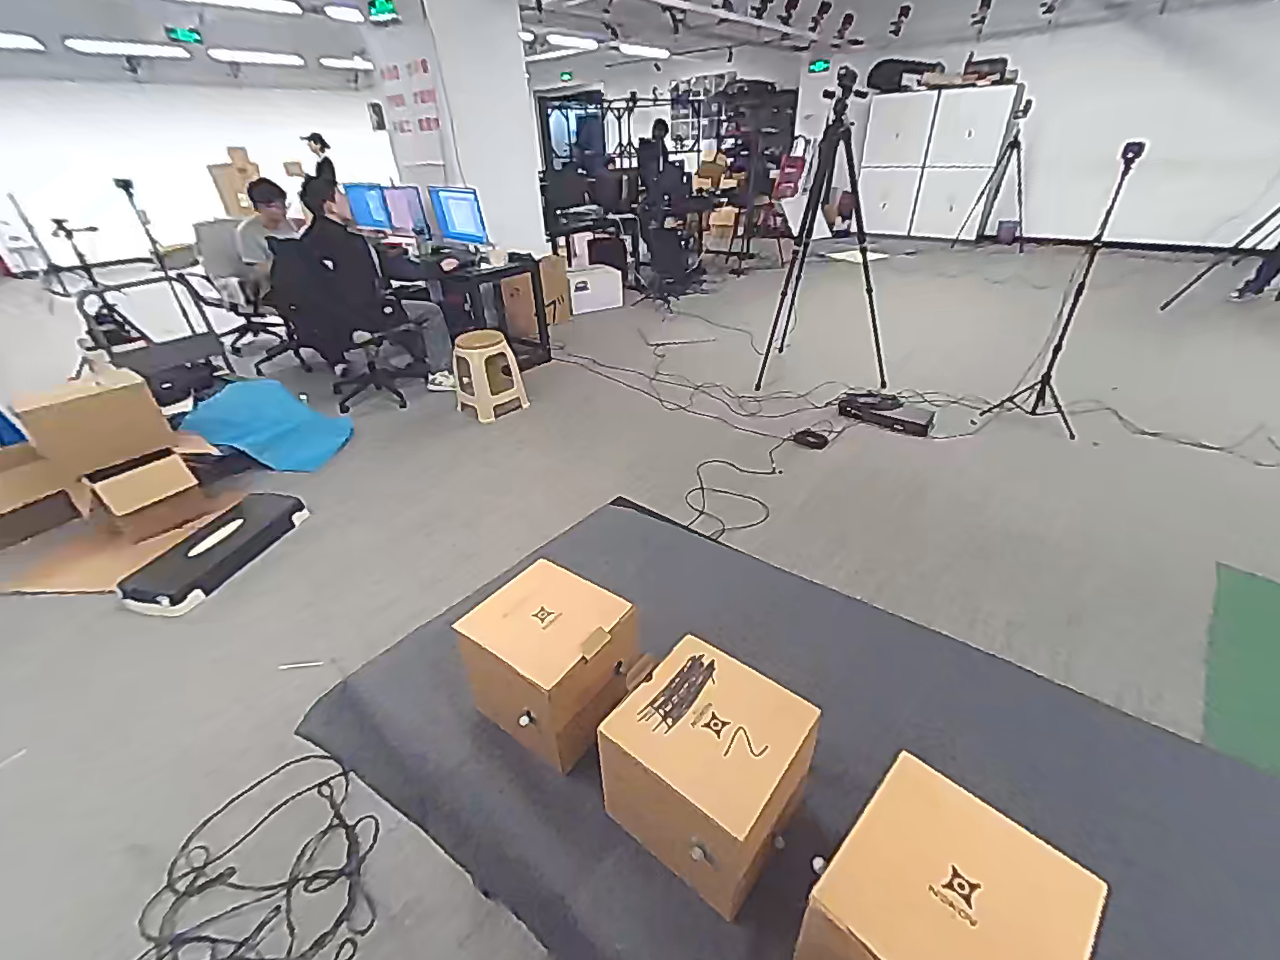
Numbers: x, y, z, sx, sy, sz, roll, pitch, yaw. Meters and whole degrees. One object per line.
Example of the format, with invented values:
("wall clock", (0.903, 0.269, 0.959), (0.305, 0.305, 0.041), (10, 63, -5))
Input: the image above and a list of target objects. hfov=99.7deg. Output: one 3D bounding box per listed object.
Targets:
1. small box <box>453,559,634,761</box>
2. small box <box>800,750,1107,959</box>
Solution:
("small box", (-0.120, 0.243, 0.737), (0.179, 0.176, 0.168), (18, 36, 31))
("small box", (0.258, 0.392, 0.472), (0.179, 0.176, 0.168), (-29, 41, -36))
